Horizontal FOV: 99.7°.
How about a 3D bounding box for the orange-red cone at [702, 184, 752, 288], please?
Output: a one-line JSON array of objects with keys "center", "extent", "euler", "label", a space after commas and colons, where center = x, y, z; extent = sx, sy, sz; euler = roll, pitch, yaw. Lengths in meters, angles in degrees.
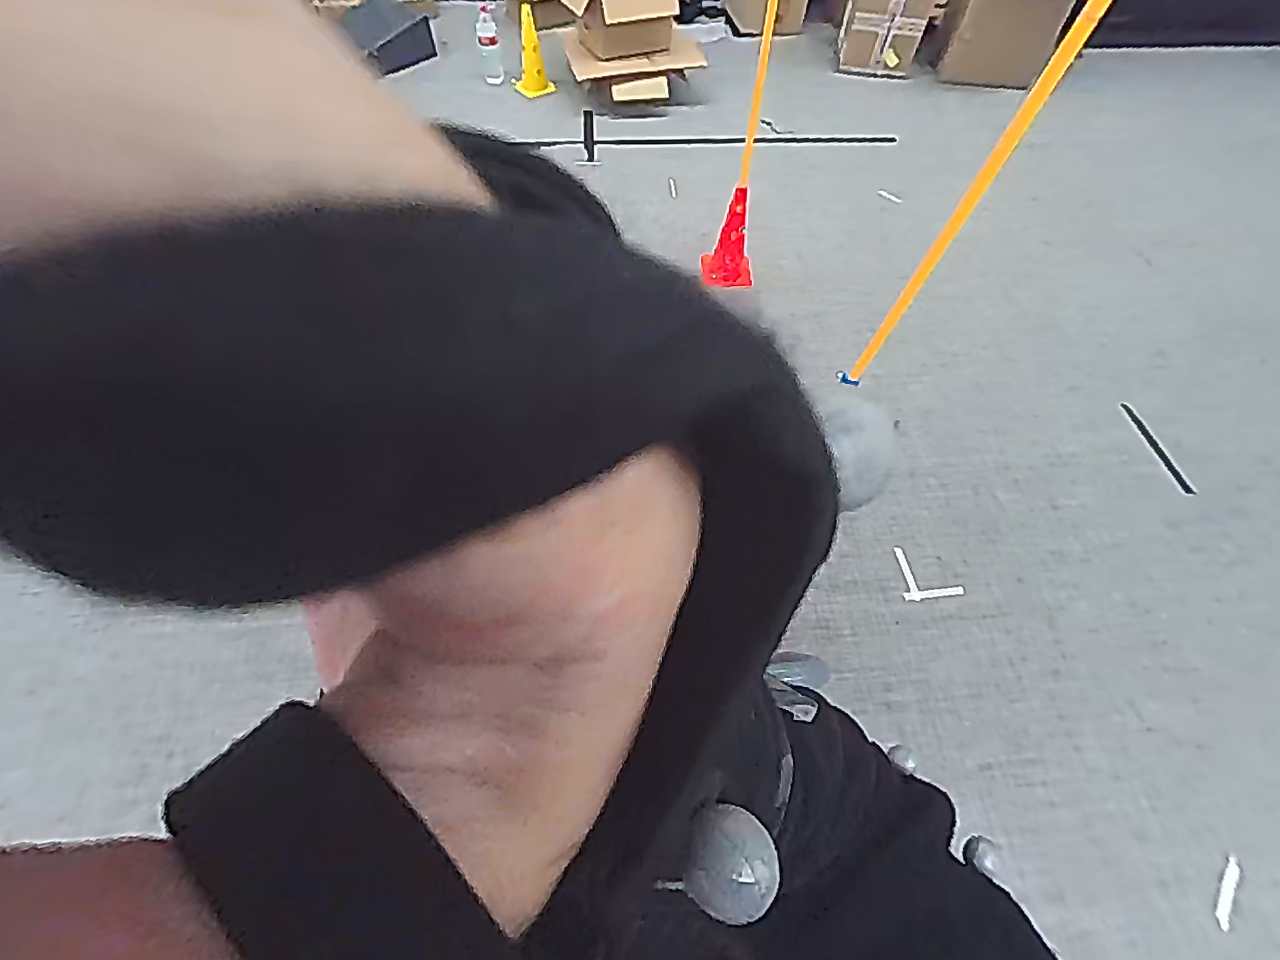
[{"center": [0.358, -0.939, 2.051], "extent": [0.199, 0.360, 0.198], "euler": [3, 58, -1], "label": "orange-red cone"}]
